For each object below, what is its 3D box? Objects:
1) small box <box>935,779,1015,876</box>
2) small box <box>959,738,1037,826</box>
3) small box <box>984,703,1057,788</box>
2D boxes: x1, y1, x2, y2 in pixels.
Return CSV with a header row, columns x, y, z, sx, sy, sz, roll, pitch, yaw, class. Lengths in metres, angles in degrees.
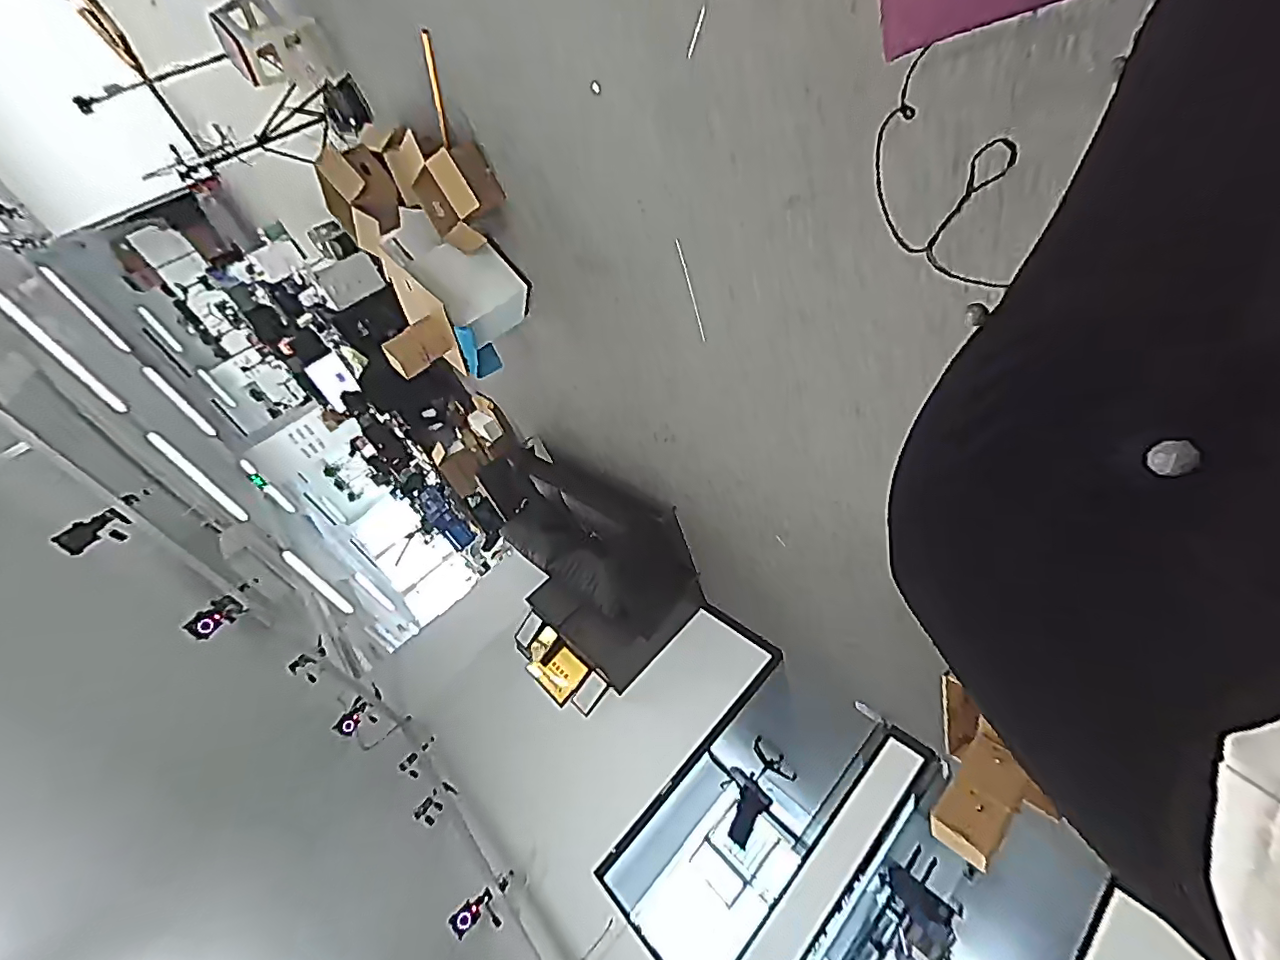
x,y,z,sx,sy,sz,roll,pitch,yaw,class
1.065,1.101,1.719,0.168,0.176,0.179,24,148,46,small box
1.174,0.995,1.777,0.168,0.176,0.179,23,148,45,small box
1.292,0.900,1.844,0.168,0.176,0.179,25,150,45,small box
